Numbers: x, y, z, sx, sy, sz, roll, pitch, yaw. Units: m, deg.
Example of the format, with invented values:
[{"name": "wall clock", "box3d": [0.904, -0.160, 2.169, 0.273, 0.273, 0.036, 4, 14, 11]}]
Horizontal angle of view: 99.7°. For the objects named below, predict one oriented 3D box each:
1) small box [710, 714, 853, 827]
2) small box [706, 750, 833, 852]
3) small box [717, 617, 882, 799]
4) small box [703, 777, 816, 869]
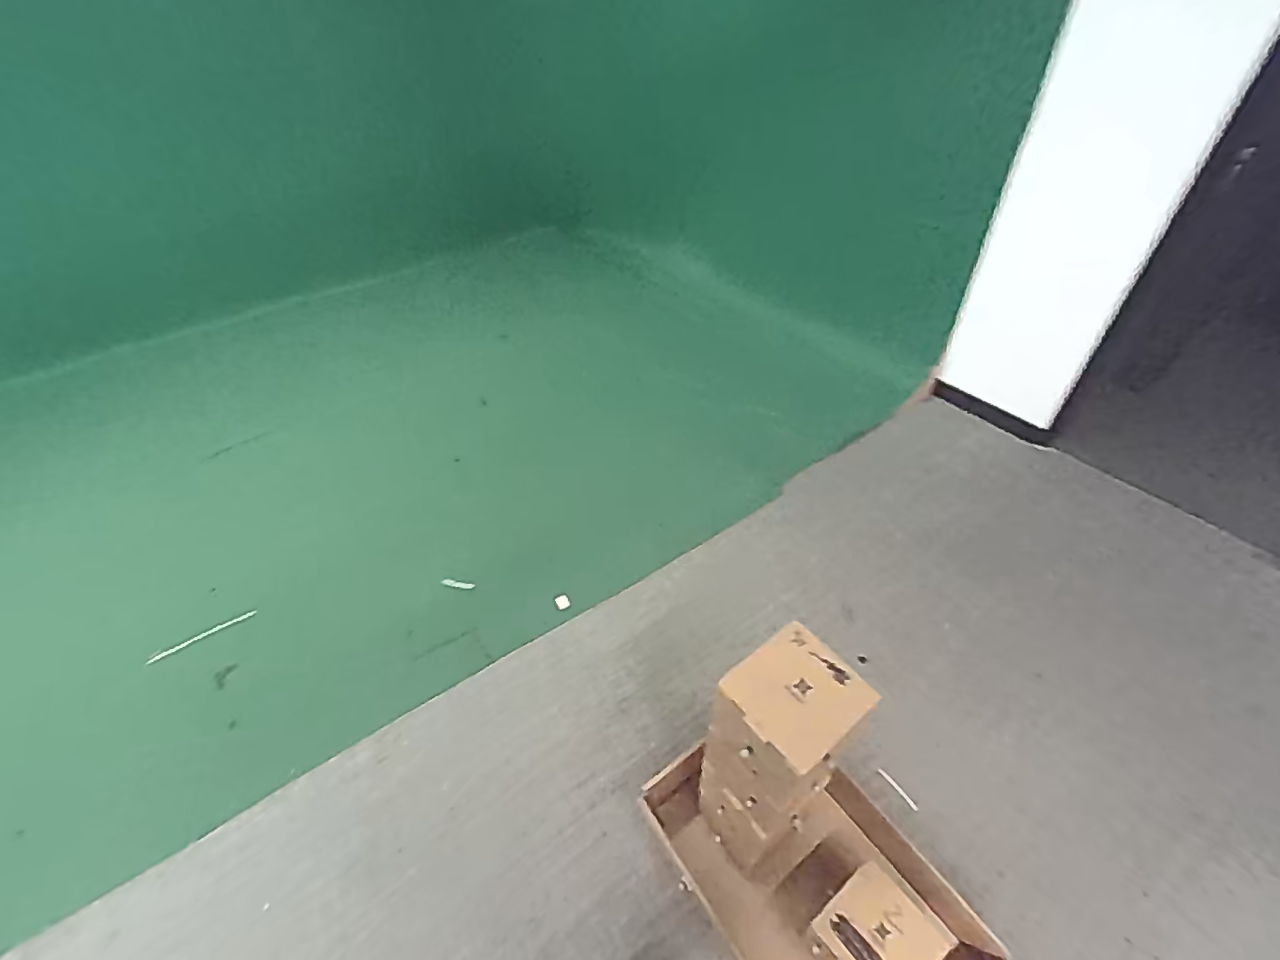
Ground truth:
[{"name": "small box", "box3d": [0.241, 0.472, 0.957, 0.179, 0.176, 0.168, -29, 51, -23]}, {"name": "small box", "box3d": [0.245, 0.590, 1.070, 0.179, 0.176, 0.168, -28, 50, -22]}, {"name": "small box", "box3d": [0.237, 0.356, 0.841, 0.179, 0.176, 0.168, -30, 52, -22]}, {"name": "small box", "box3d": [0.251, 0.706, 1.185, 0.179, 0.176, 0.168, -27, 49, -21]}]
